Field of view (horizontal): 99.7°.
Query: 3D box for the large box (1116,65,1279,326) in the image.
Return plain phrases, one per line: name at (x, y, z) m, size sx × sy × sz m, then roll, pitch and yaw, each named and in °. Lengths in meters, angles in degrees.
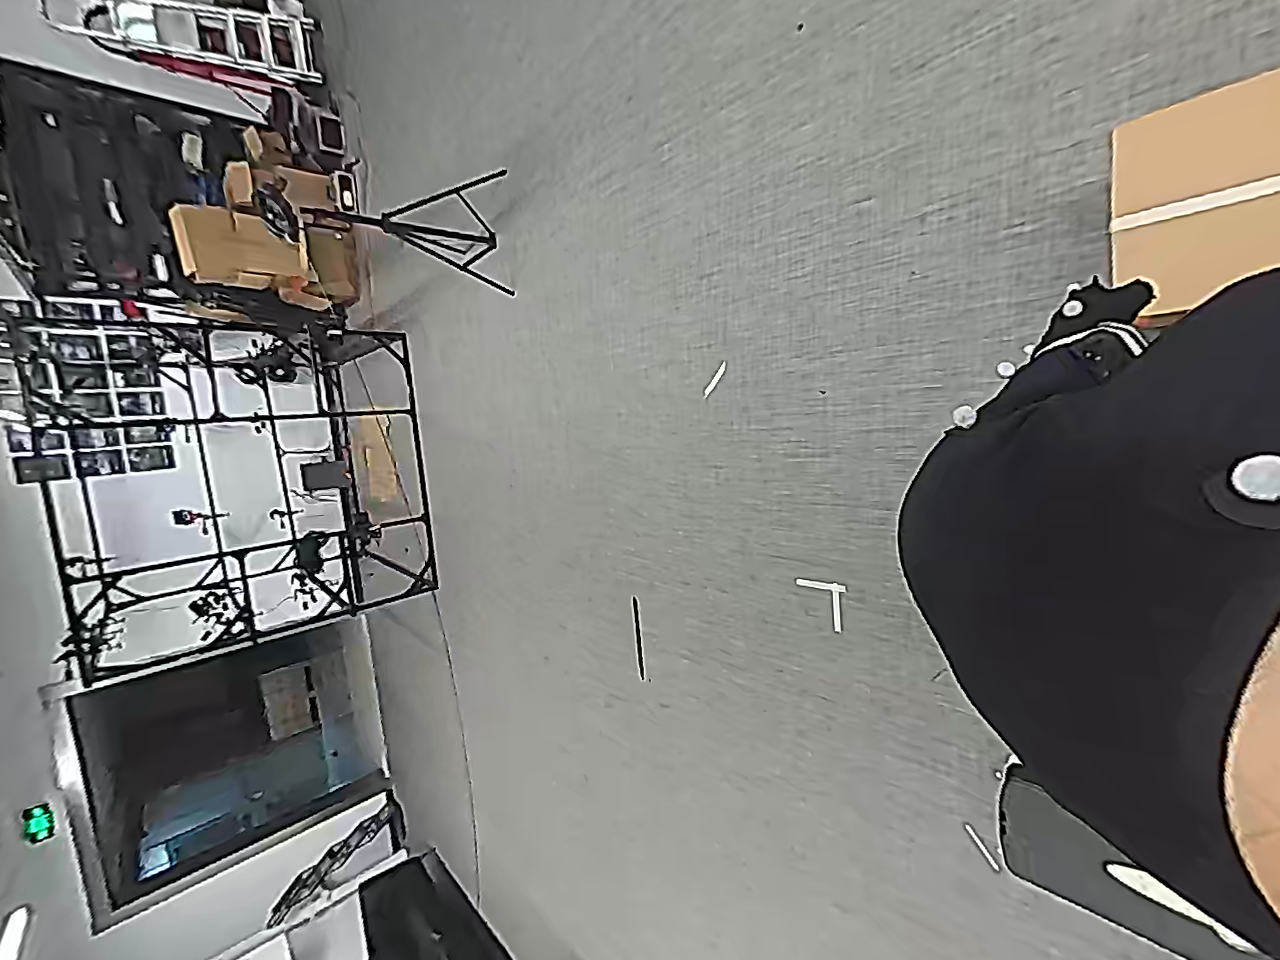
large box at (1.028, -0.443, 0.843) m, size 0.408 × 0.320 × 0.320 m, roll 1°, pitch 99°, yaw 48°
